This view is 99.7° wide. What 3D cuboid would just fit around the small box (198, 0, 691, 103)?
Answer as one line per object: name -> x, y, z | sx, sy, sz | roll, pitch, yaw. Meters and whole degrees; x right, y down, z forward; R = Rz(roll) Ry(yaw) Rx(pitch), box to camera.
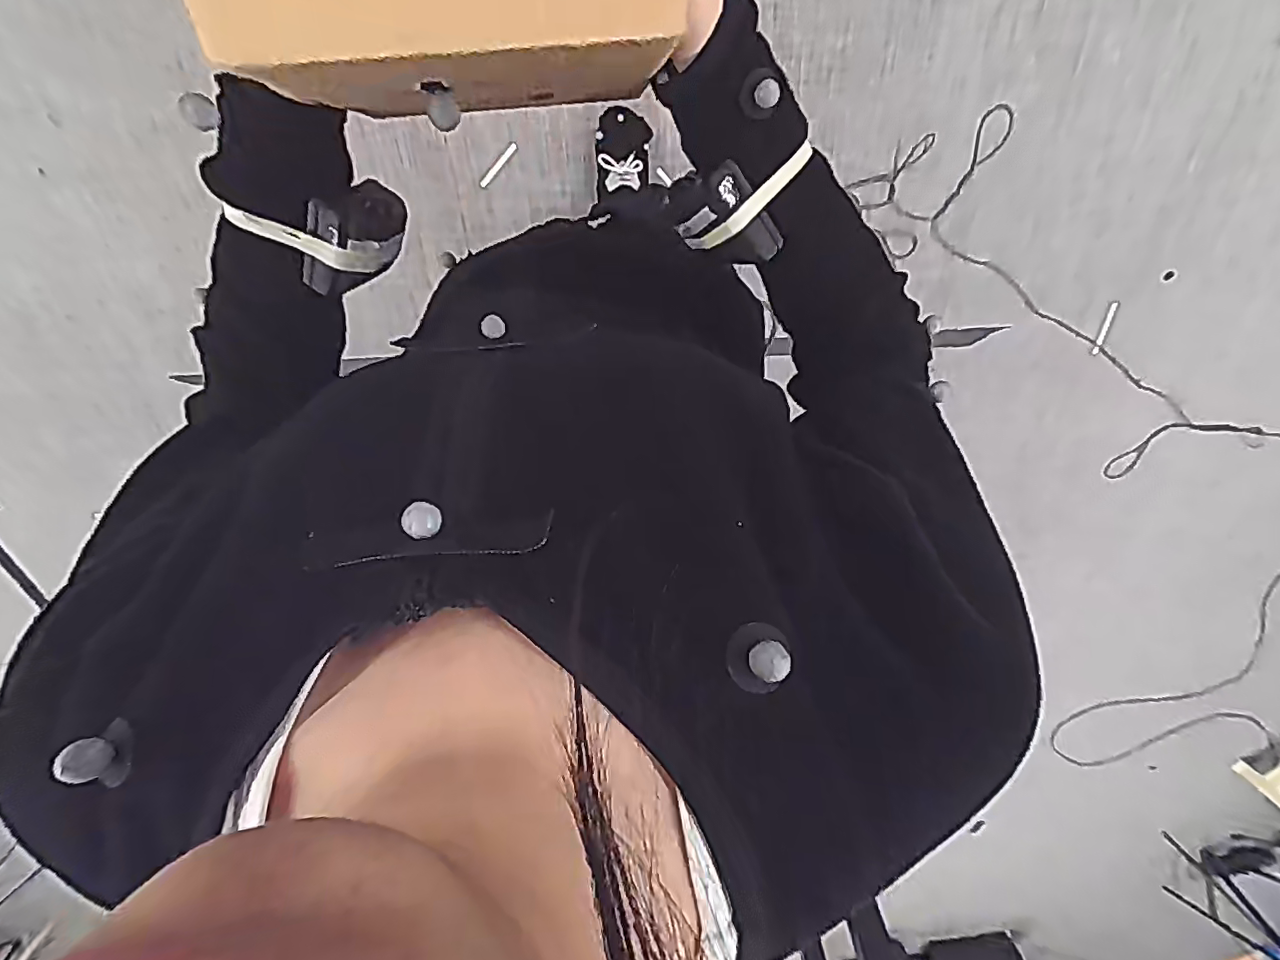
small box -> -0.073, -0.264, 0.212 | 0.168, 0.176, 0.179 | -6, 118, -3
